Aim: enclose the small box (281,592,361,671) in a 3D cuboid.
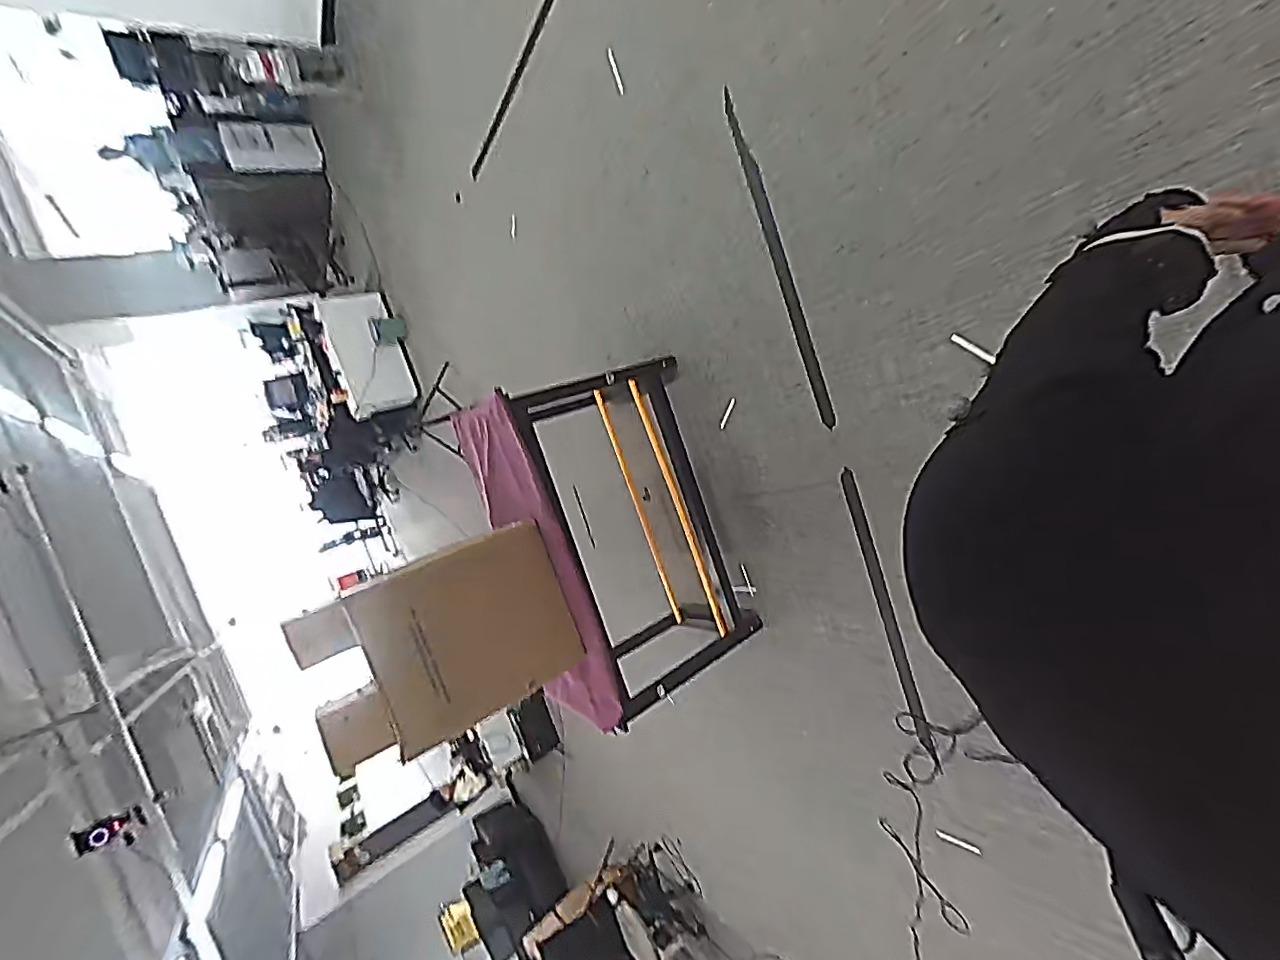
[{"bbox_3d":[-1.028,0.480,1.742,0.168,0.176,0.179,-6,106,57],"label":"small box"}]
